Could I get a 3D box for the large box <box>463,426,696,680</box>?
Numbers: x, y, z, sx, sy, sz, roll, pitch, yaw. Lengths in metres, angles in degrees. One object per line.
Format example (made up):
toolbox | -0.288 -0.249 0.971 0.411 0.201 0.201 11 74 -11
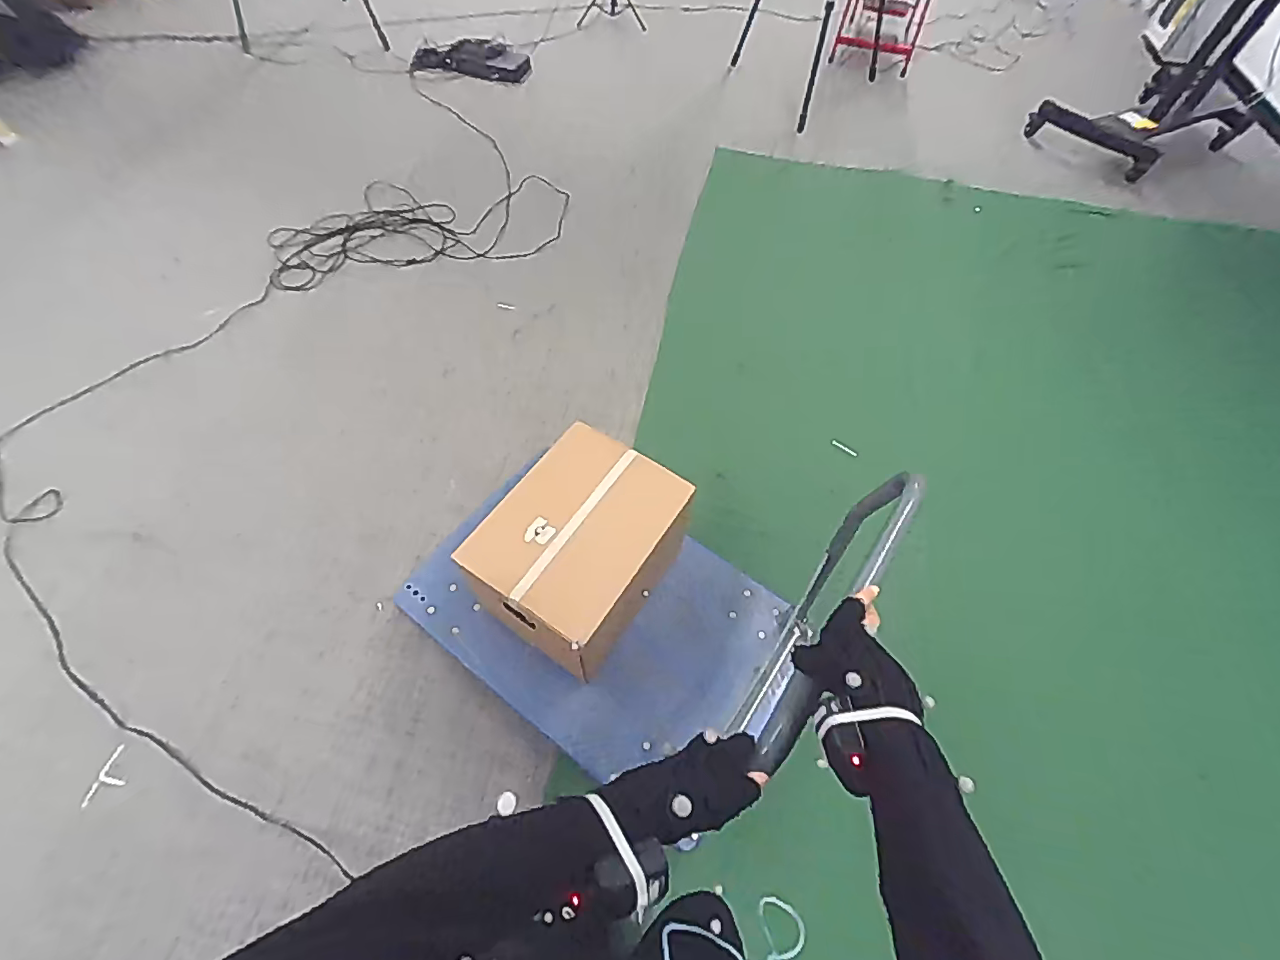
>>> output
large box | -0.117 0.164 1.212 0.320 0.320 0.408 30 62 15
